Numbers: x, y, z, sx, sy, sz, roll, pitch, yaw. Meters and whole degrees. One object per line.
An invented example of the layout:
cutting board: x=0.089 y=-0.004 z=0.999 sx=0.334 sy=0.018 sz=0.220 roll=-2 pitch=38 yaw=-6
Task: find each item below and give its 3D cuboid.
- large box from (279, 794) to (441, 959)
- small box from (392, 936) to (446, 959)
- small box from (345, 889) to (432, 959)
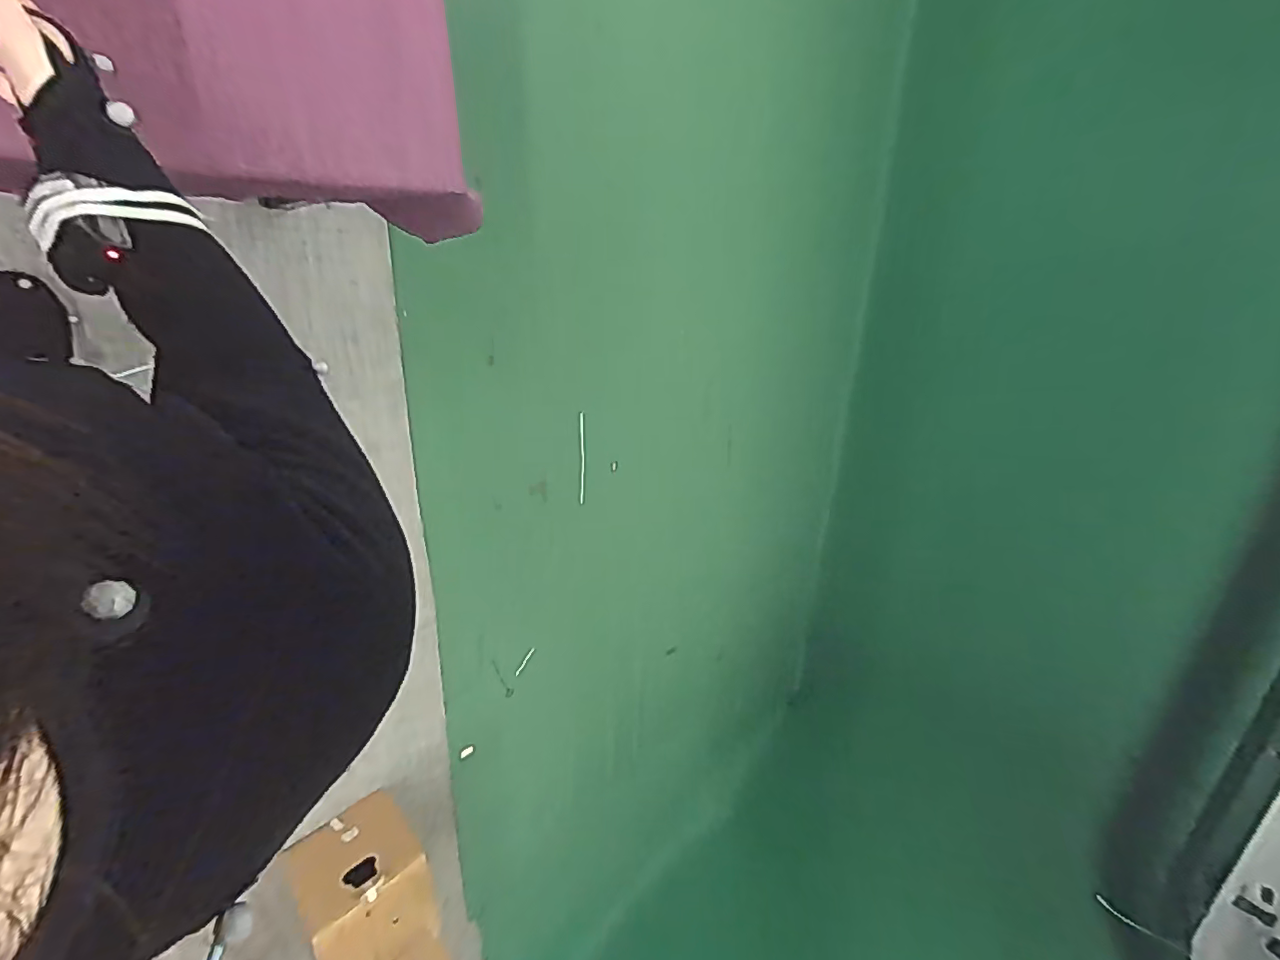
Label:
large box: x=-0.863 y=1.301 z=1.683 sx=0.320 sy=0.320 sz=0.408 roll=-21 pitch=121 yaw=-43
small box: x=-0.575 y=1.329 z=1.380 sx=0.168 sy=0.176 sz=0.179 roll=-18 pitch=119 yaw=-44
small box: x=-0.691 y=1.286 z=1.491 sx=0.168 sy=0.176 sz=0.179 roll=-18 pitch=119 yaw=-44
